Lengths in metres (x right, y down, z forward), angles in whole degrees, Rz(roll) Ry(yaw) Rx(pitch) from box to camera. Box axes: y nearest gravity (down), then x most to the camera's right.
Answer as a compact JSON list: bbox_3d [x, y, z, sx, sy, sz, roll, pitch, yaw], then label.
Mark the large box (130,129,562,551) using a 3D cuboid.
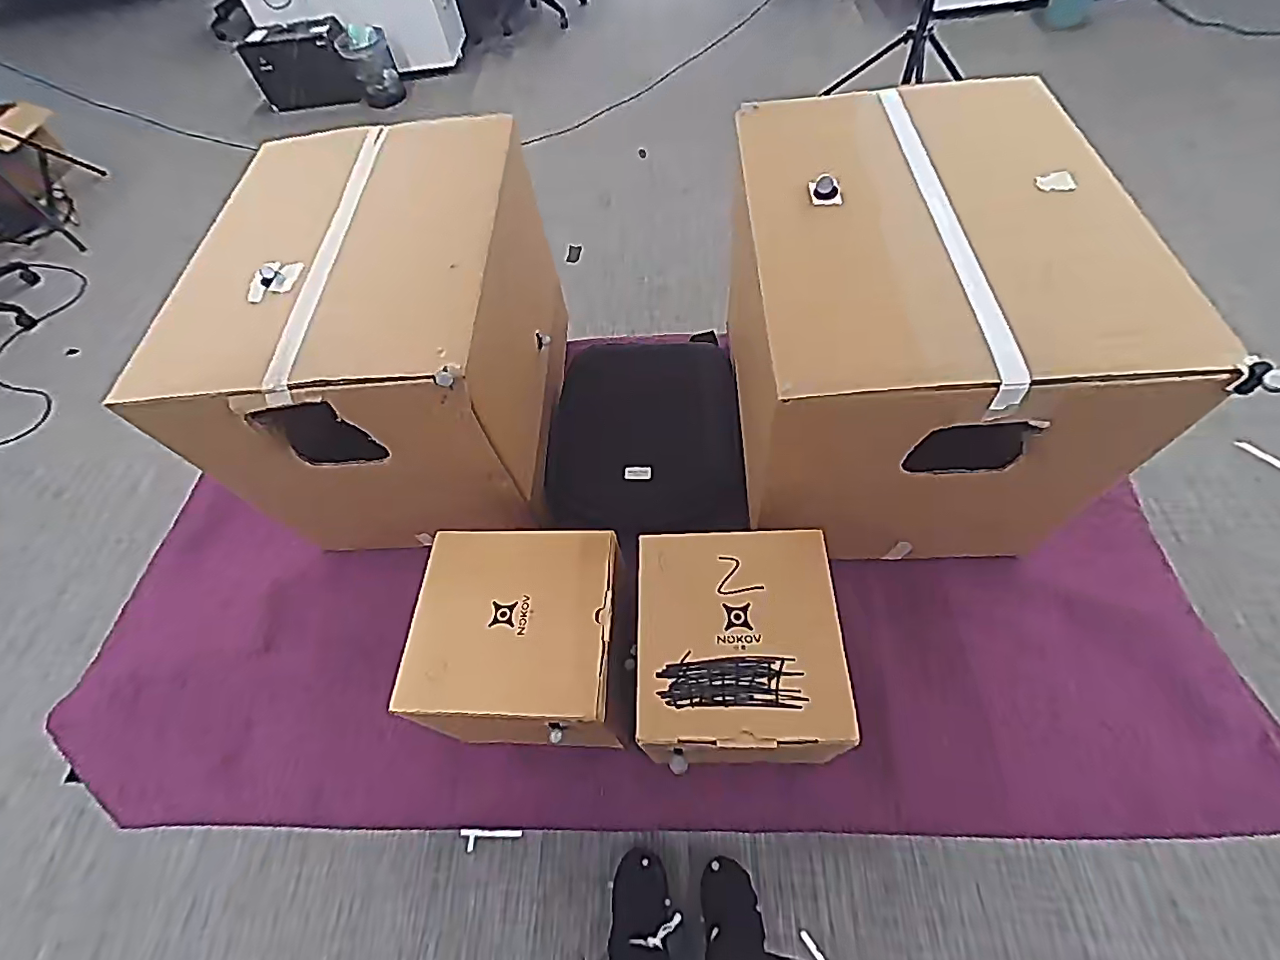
[{"bbox_3d":[-0.281,-0.159,0.677,0.320,0.320,0.408,-5,60,4],"label":"large box"}]
